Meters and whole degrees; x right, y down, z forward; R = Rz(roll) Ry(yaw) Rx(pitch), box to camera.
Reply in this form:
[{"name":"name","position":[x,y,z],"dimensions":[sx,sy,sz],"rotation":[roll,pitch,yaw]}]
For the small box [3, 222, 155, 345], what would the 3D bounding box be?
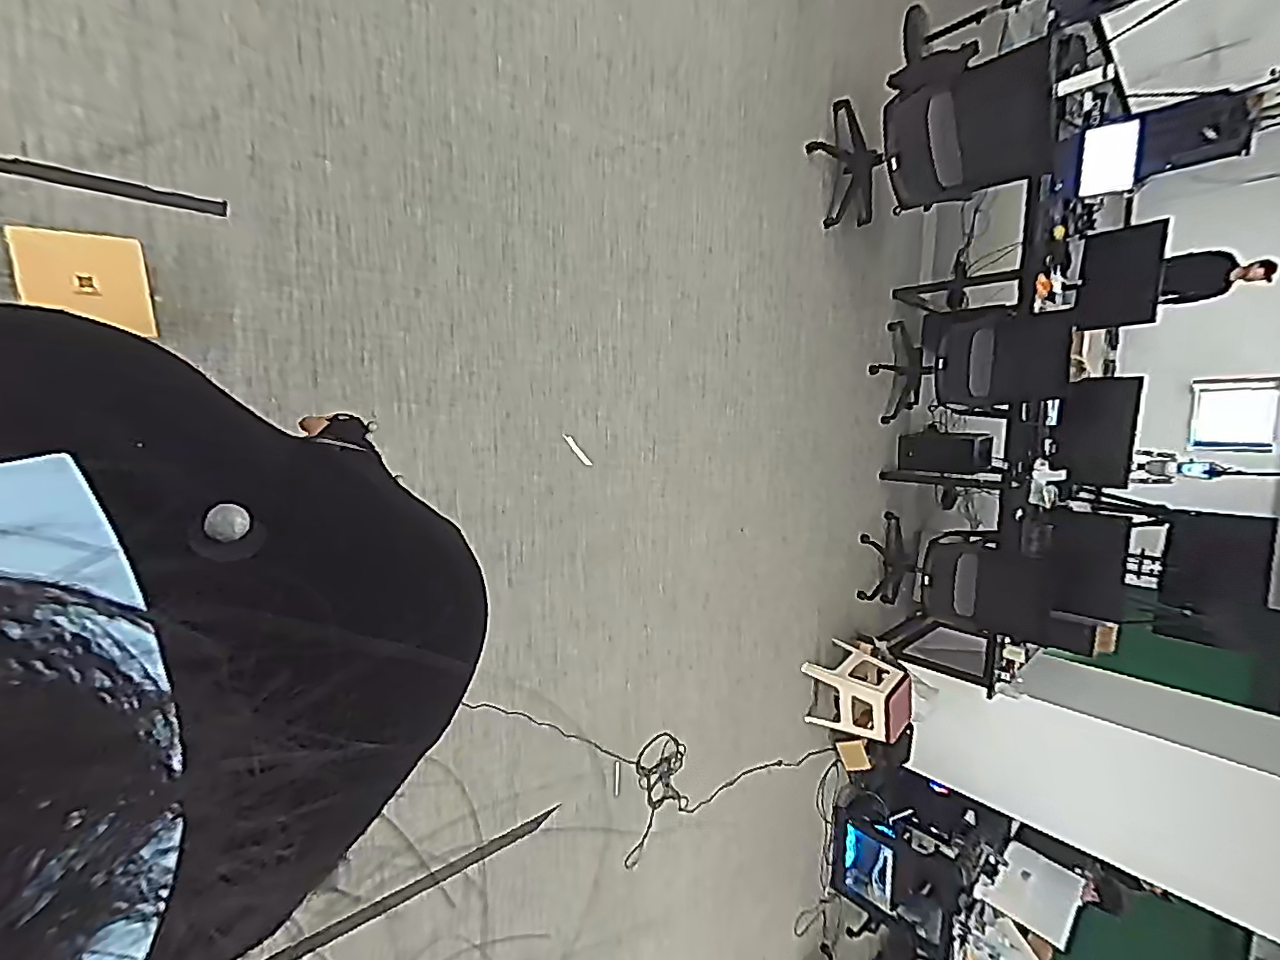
[{"name":"small box","position":[-1.018,-0.347,0.991],"dimensions":[0.168,0.176,0.179],"rotation":[-11,103,-42]}]
